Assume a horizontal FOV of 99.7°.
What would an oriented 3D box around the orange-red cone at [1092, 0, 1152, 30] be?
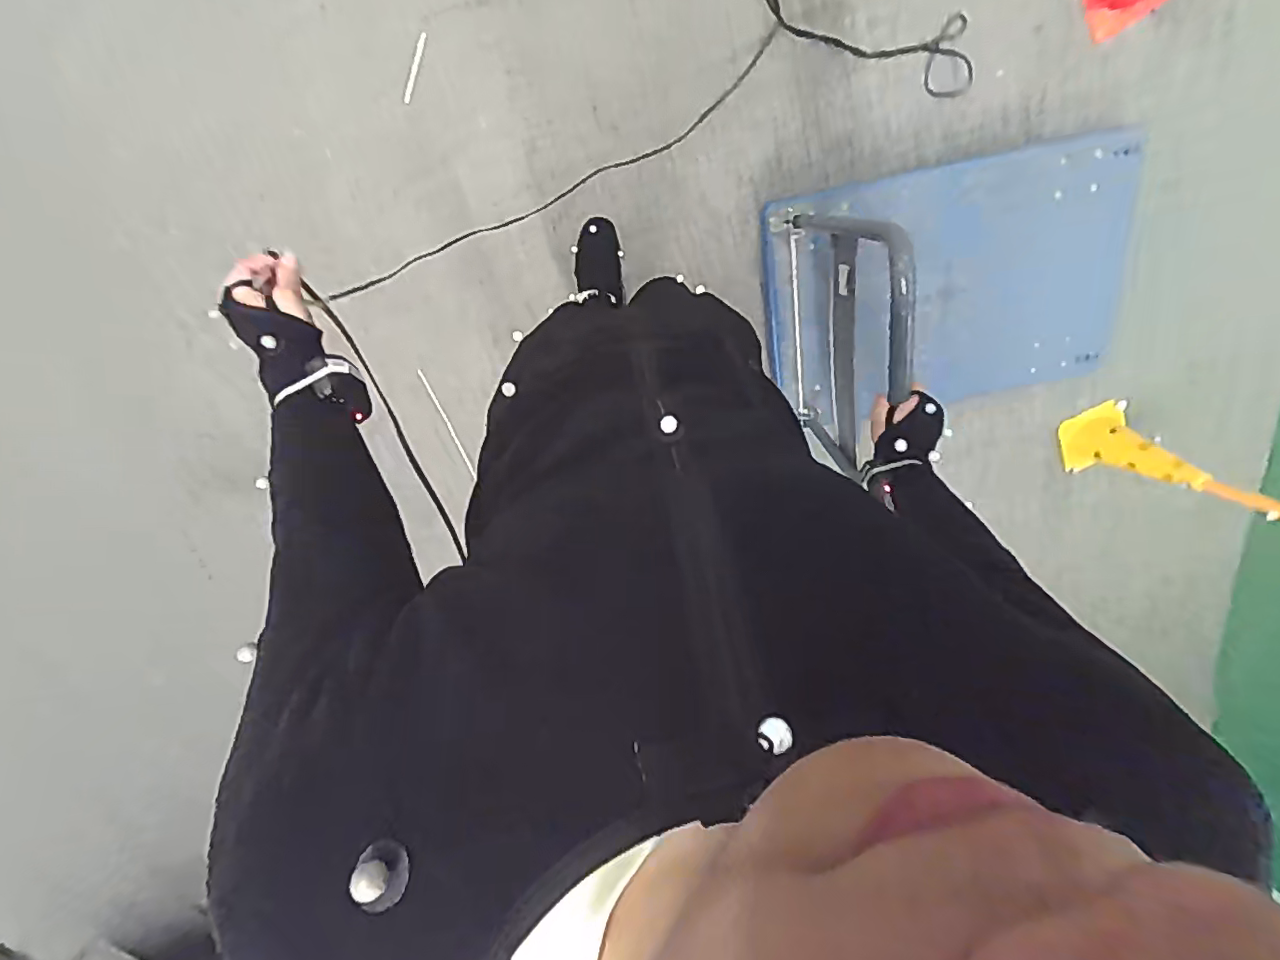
[{"bbox_3d":[1.111,-1.086,1.050,0.198,0.360,0.199,-31,113,10],"label":"orange-red cone"}]
